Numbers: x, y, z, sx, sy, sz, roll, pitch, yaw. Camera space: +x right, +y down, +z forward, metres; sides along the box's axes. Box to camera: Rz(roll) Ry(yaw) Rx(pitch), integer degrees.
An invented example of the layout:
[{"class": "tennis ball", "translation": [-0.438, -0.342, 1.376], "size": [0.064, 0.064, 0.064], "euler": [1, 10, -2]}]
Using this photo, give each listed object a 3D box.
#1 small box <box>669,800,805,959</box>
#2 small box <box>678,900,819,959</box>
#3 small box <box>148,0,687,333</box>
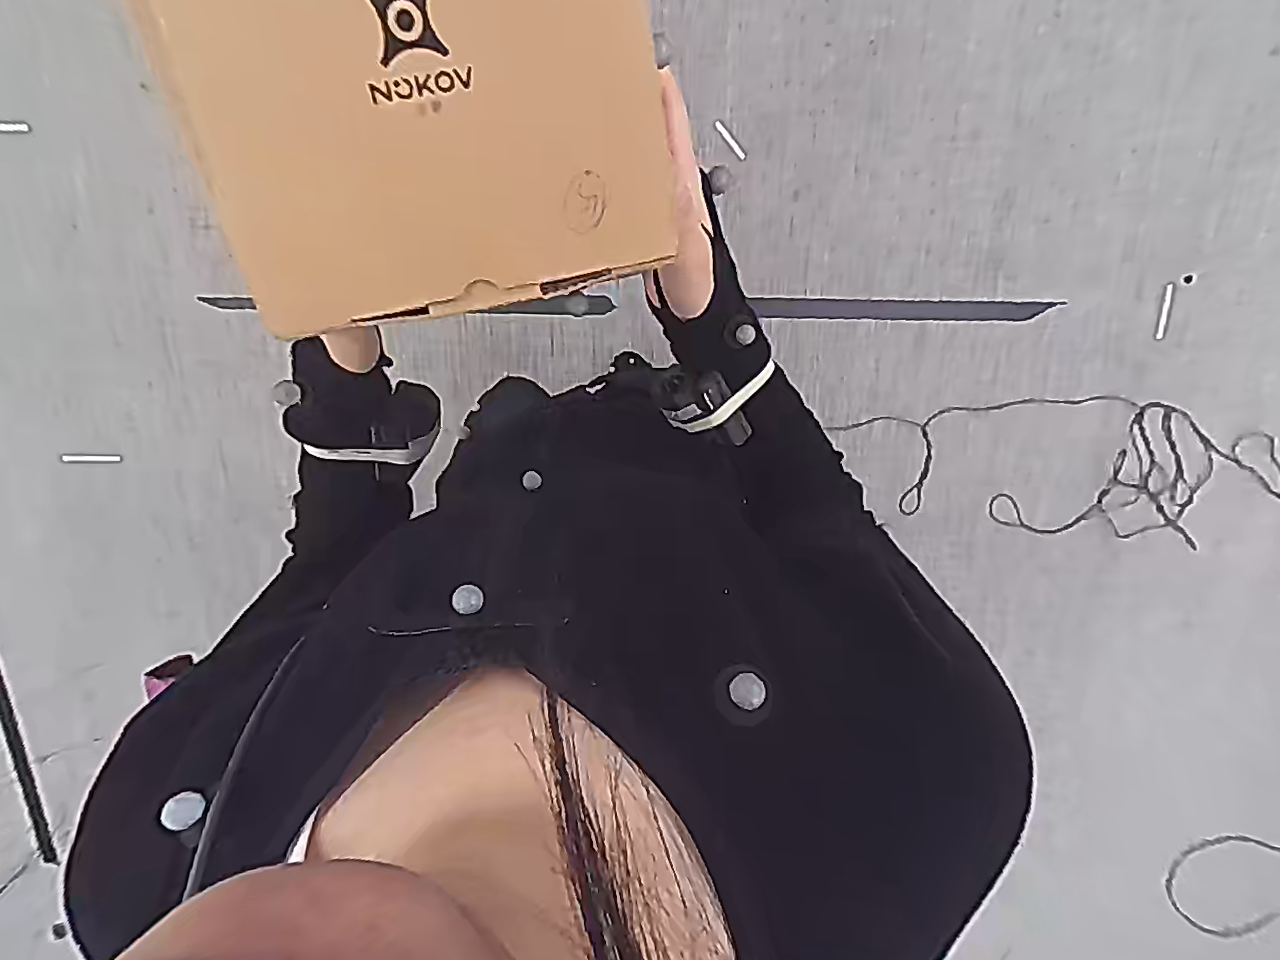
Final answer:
[{"class": "small box", "translation": [0.132, 0.609, 0.805], "size": [0.168, 0.176, 0.179], "euler": [1, 103, -1]}, {"class": "small box", "translation": [0.135, 0.652, 0.647], "size": [0.168, 0.176, 0.179], "euler": [0, 104, -1]}, {"class": "small box", "translation": [-0.084, -0.179, 0.259], "size": [0.168, 0.176, 0.179], "euler": [-13, 109, -4]}]
